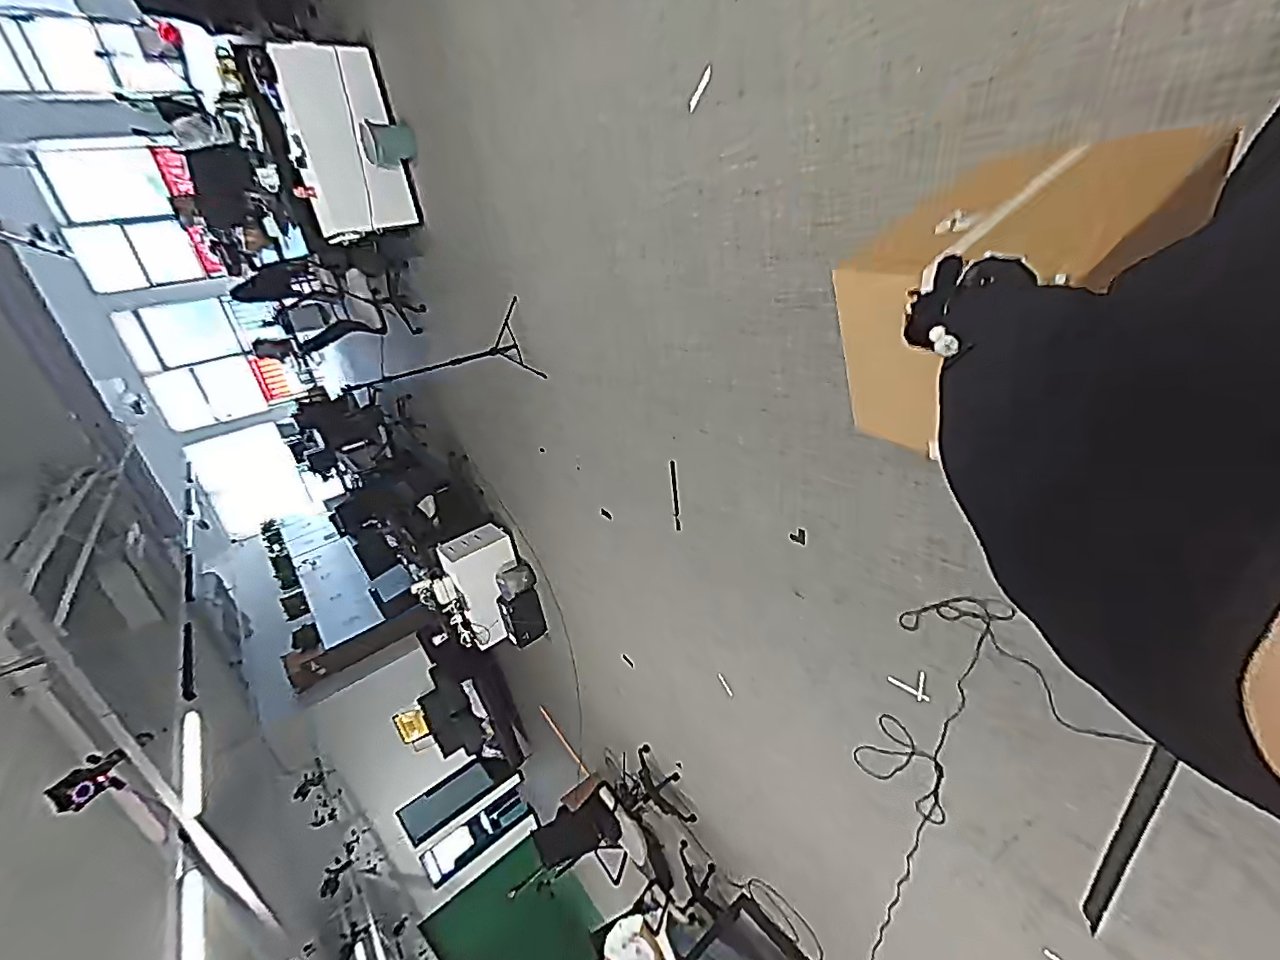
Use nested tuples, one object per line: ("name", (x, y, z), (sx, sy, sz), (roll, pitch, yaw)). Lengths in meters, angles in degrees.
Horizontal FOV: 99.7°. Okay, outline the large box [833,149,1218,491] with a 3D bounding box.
("large box", (0.573, -0.256, 0.844), (0.320, 0.408, 0.320), (32, 154, 51))
